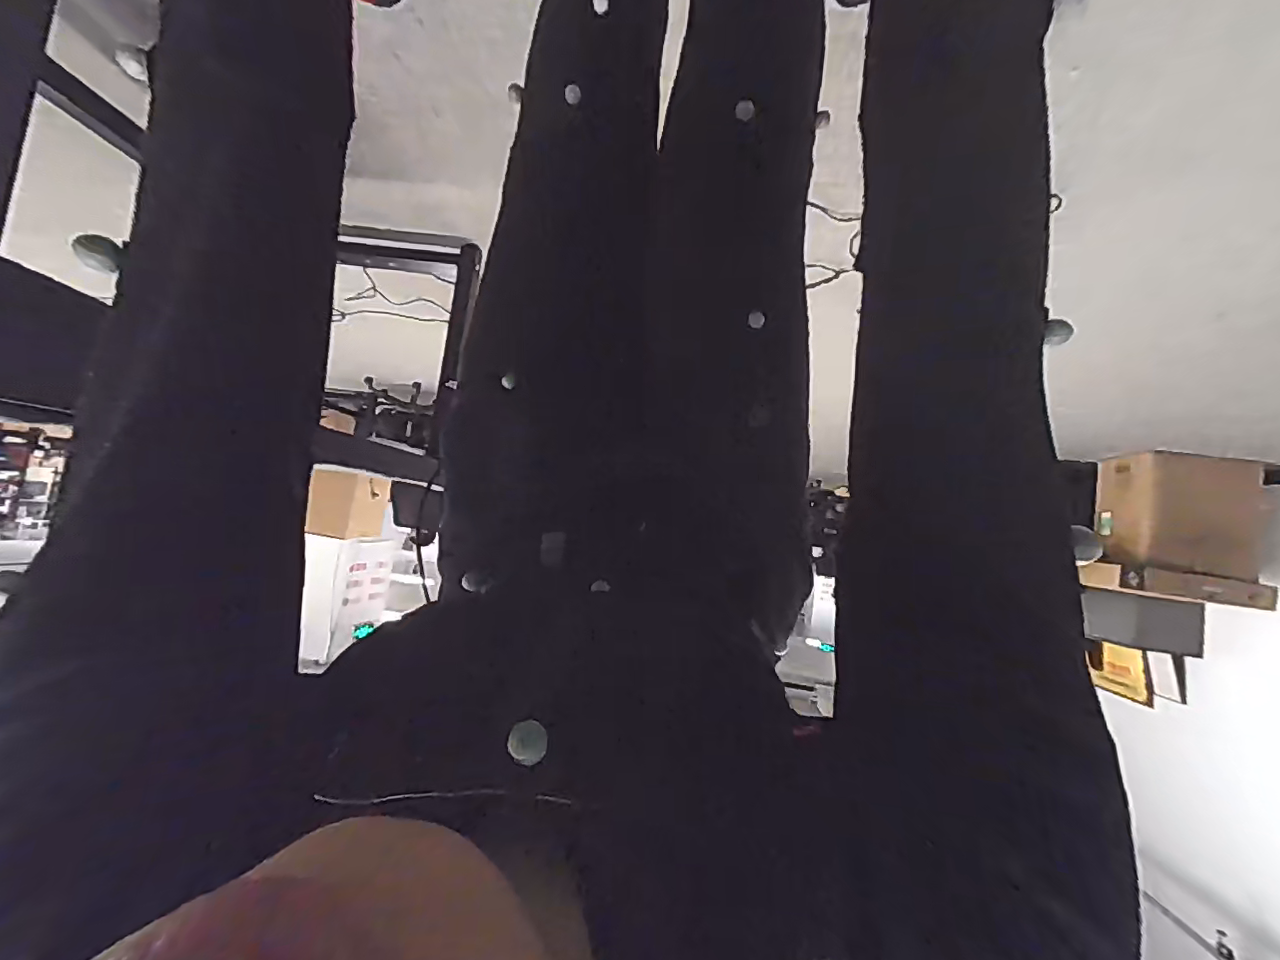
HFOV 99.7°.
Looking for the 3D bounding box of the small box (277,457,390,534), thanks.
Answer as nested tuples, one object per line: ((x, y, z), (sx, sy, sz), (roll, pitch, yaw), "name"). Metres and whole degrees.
((-0.765, 0.040, 1.367), (0.179, 0.176, 0.168), (9, 176, 3), "small box")
